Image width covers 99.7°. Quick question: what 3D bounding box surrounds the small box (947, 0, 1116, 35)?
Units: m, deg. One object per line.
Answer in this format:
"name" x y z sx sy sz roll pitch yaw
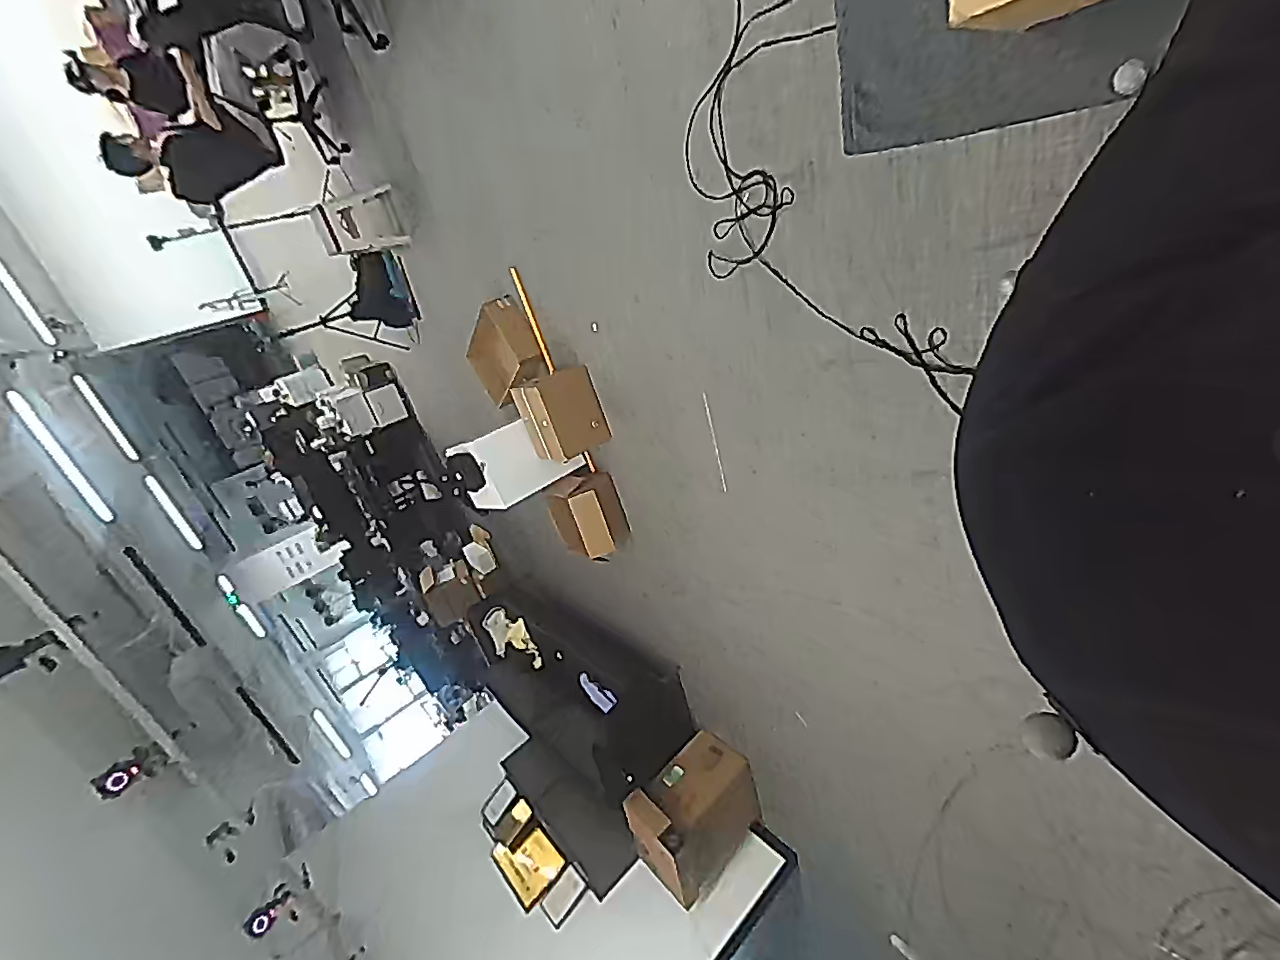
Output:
"small box" 0.350 -0.458 0.391 0.179 0.176 0.168 16 128 48
